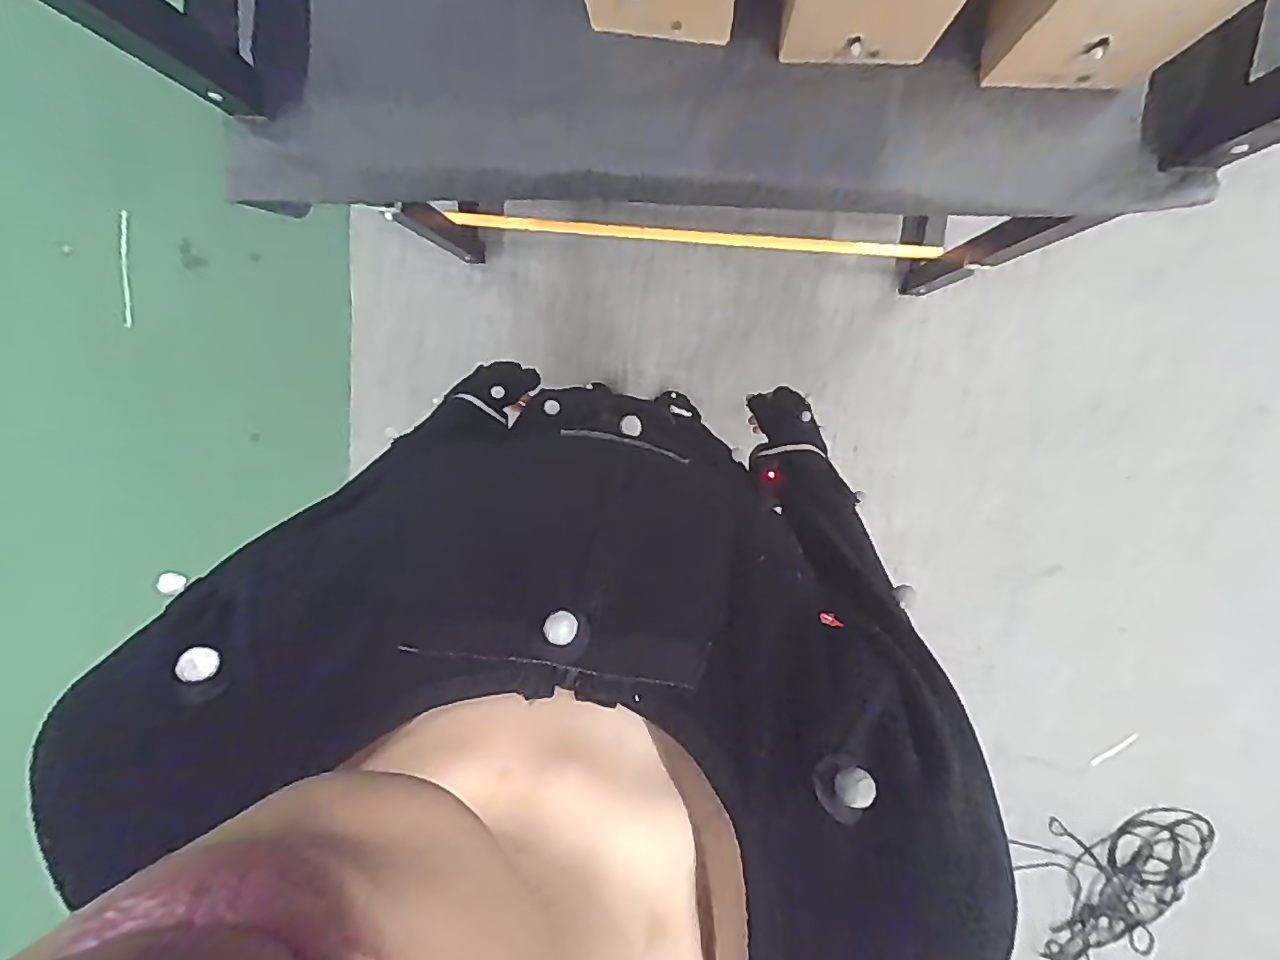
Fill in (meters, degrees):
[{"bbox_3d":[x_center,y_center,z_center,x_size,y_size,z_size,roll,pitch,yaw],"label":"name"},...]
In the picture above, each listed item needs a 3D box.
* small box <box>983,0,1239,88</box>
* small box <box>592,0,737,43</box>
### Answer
[{"bbox_3d":[0.473,-0.522,0.532,0.168,0.176,0.179,4,98,4],"label":"small box"},{"bbox_3d":[0.032,-0.601,0.558,0.168,0.176,0.179,9,100,3],"label":"small box"}]
